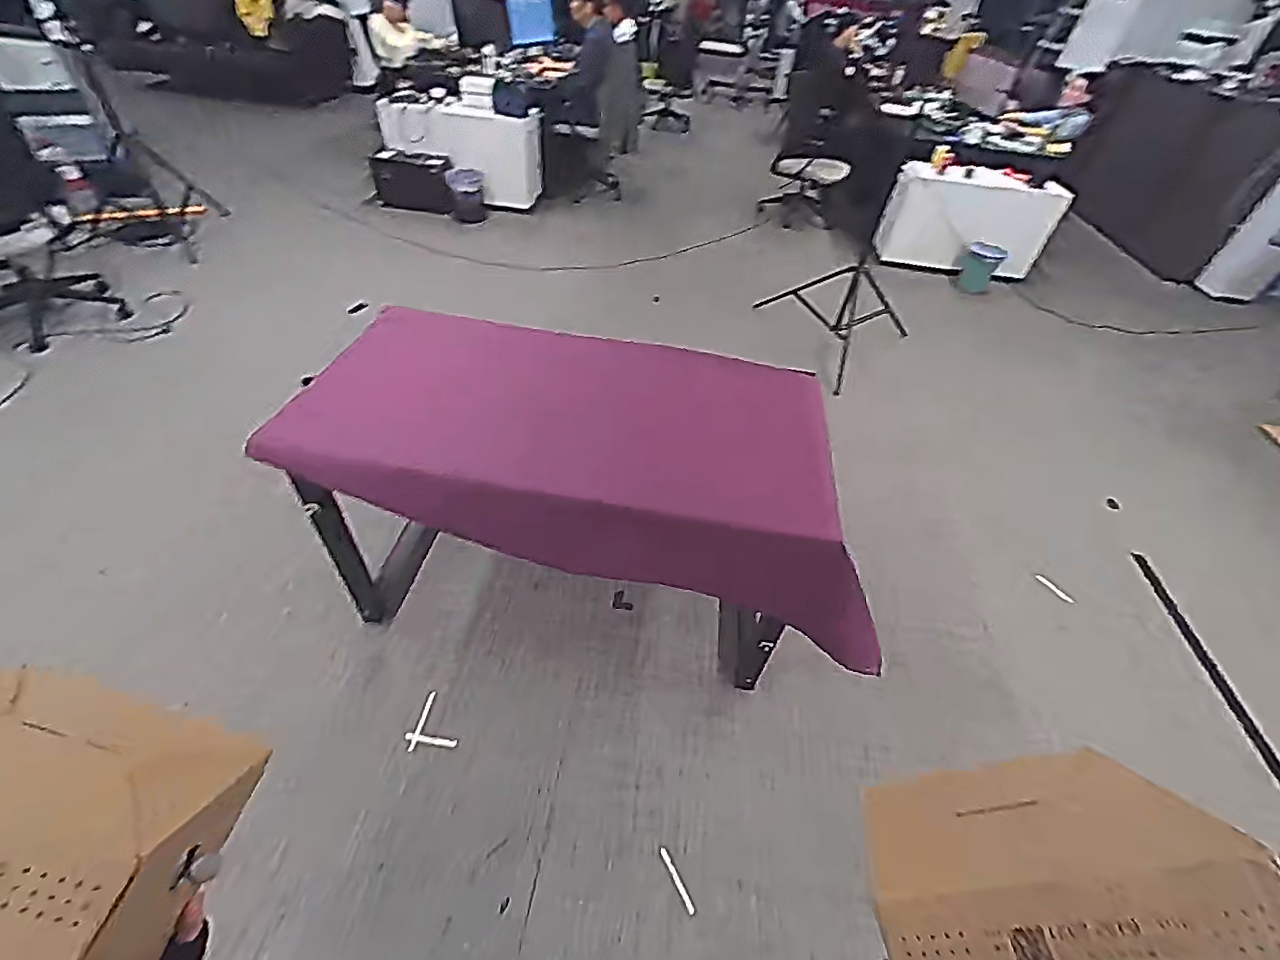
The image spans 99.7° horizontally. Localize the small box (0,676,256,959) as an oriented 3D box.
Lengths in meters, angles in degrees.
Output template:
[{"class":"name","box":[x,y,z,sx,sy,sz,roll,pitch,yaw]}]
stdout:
[{"class":"small box","box":[-0.332,0.204,0.253,0.168,0.179,0.176,26,71,-11]}]
